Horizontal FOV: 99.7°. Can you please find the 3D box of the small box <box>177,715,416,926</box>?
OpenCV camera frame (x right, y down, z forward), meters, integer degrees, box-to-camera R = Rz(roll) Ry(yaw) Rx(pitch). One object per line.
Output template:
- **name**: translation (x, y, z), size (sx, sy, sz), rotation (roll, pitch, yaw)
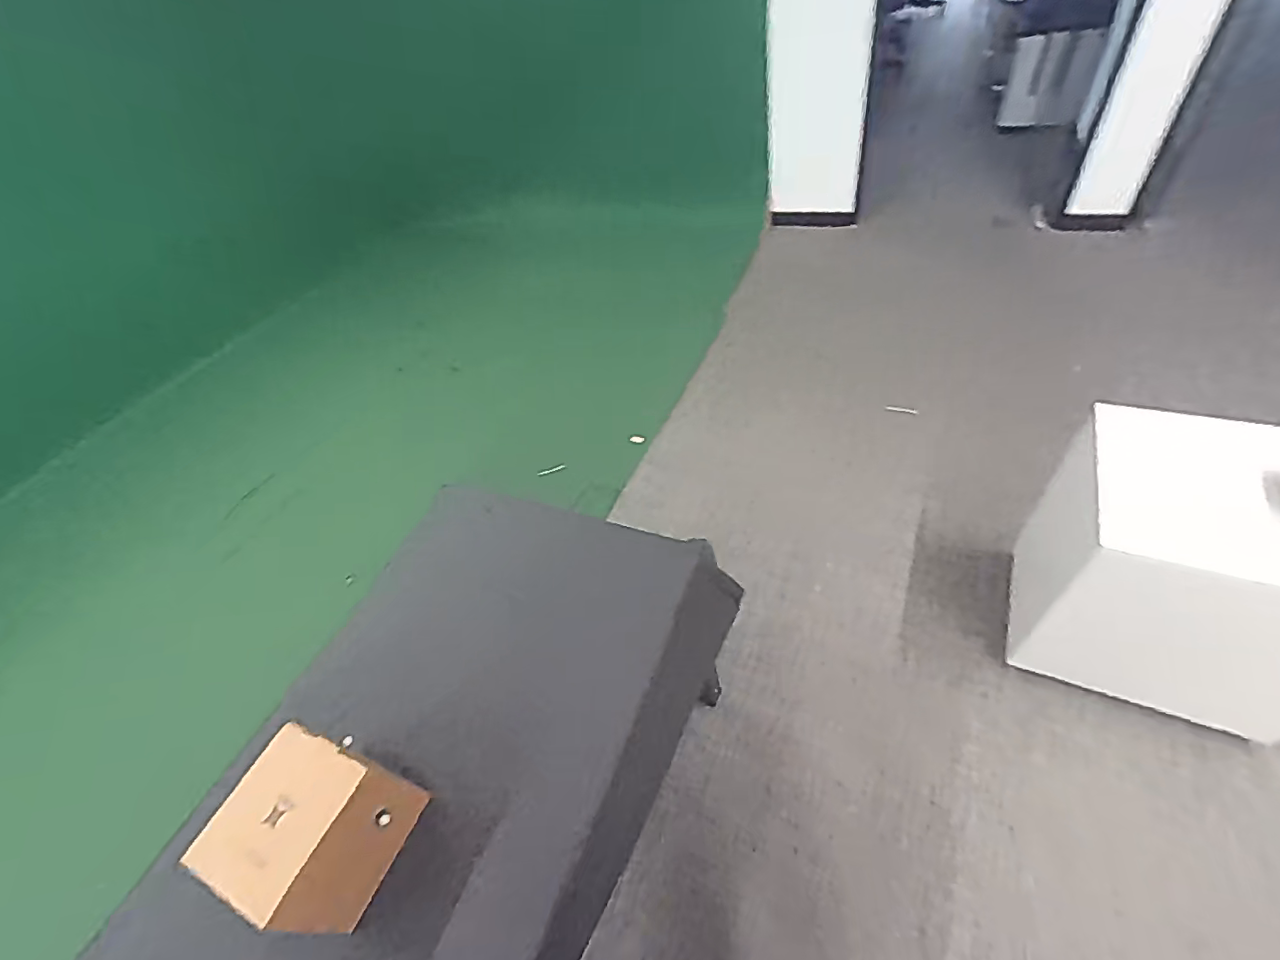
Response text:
- **small box**: translation (-0.430, 0.447, 0.715), size (0.168, 0.176, 0.179), rotation (12, 55, 23)
